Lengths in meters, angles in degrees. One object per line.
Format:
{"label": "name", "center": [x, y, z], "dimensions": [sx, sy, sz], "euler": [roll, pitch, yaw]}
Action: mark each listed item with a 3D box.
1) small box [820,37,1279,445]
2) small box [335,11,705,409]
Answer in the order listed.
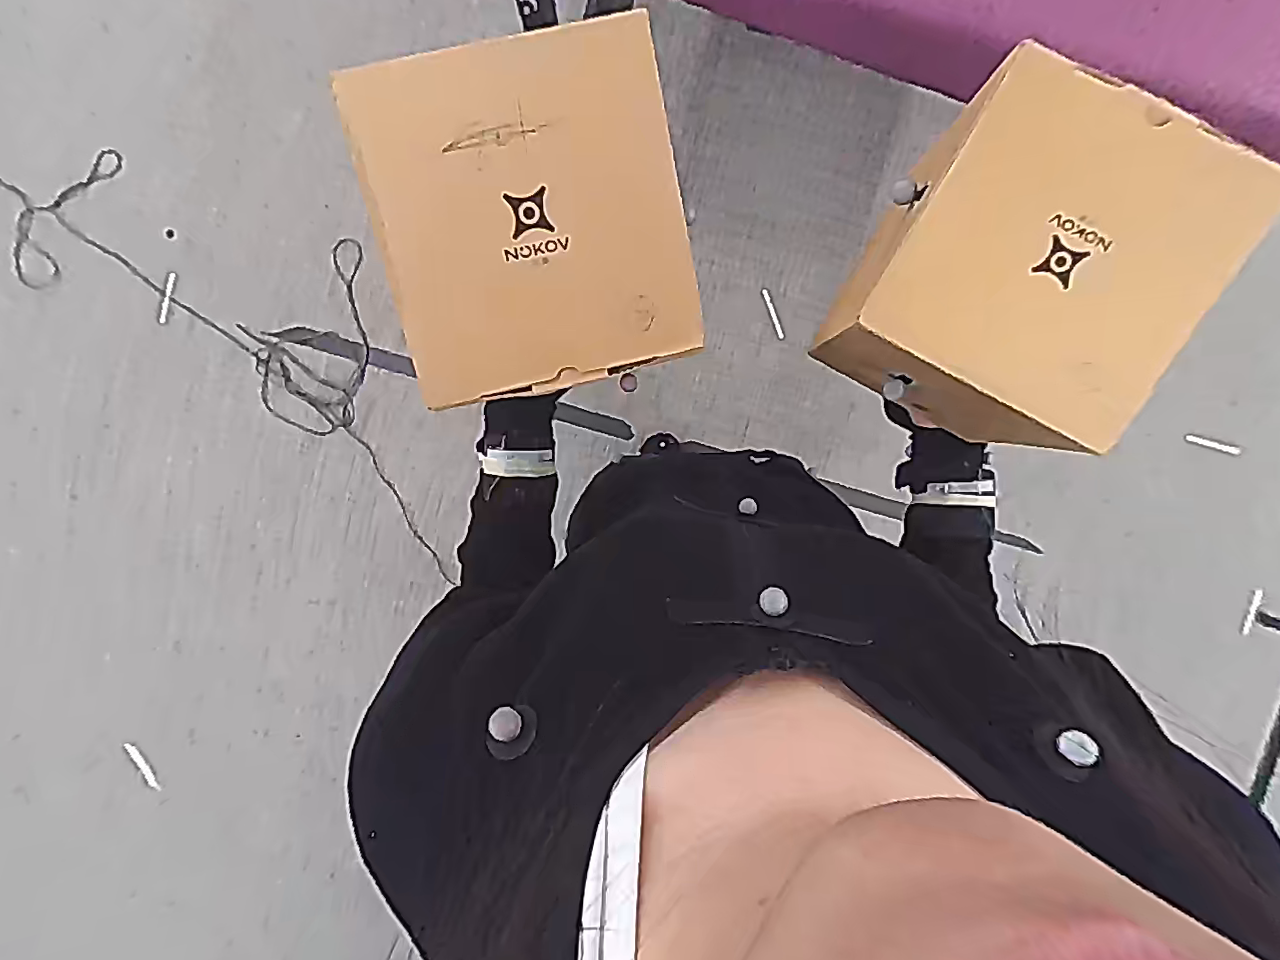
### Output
{"label": "small box", "center": [0.248, -0.140, 0.386], "dimensions": [0.168, 0.176, 0.179], "euler": [29, 98, 3]}
{"label": "small box", "center": [-0.063, -0.155, 0.370], "dimensions": [0.168, 0.176, 0.179], "euler": [-14, 101, -2]}
